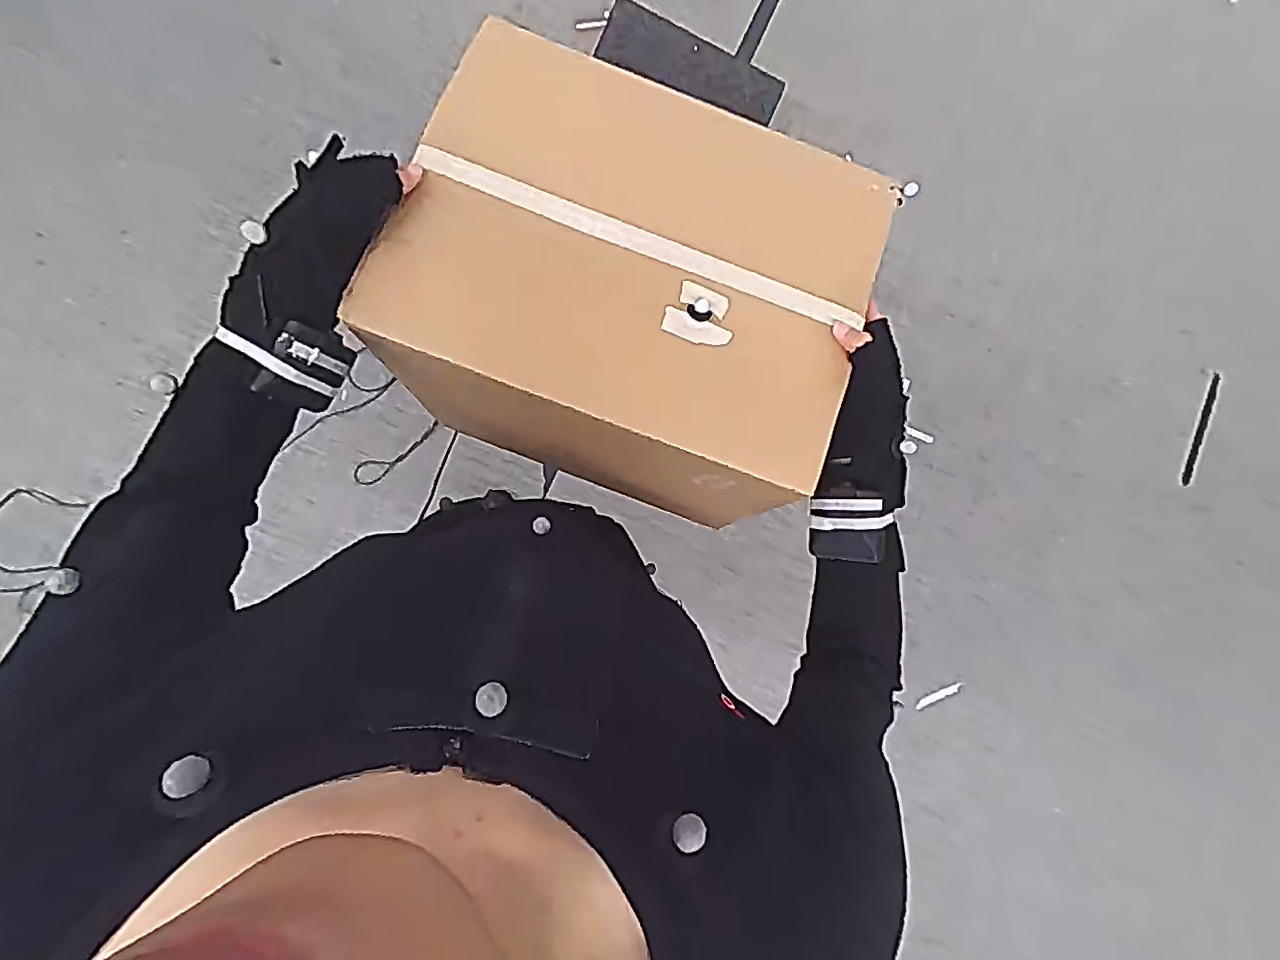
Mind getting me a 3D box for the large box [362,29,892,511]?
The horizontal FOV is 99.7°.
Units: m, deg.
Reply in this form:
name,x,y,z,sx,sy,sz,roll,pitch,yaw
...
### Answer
name,x,y,z,sx,sy,sz,roll,pitch,yaw
large box,-0.011,-0.185,0.619,0.408,0.320,0.320,20,79,-3
